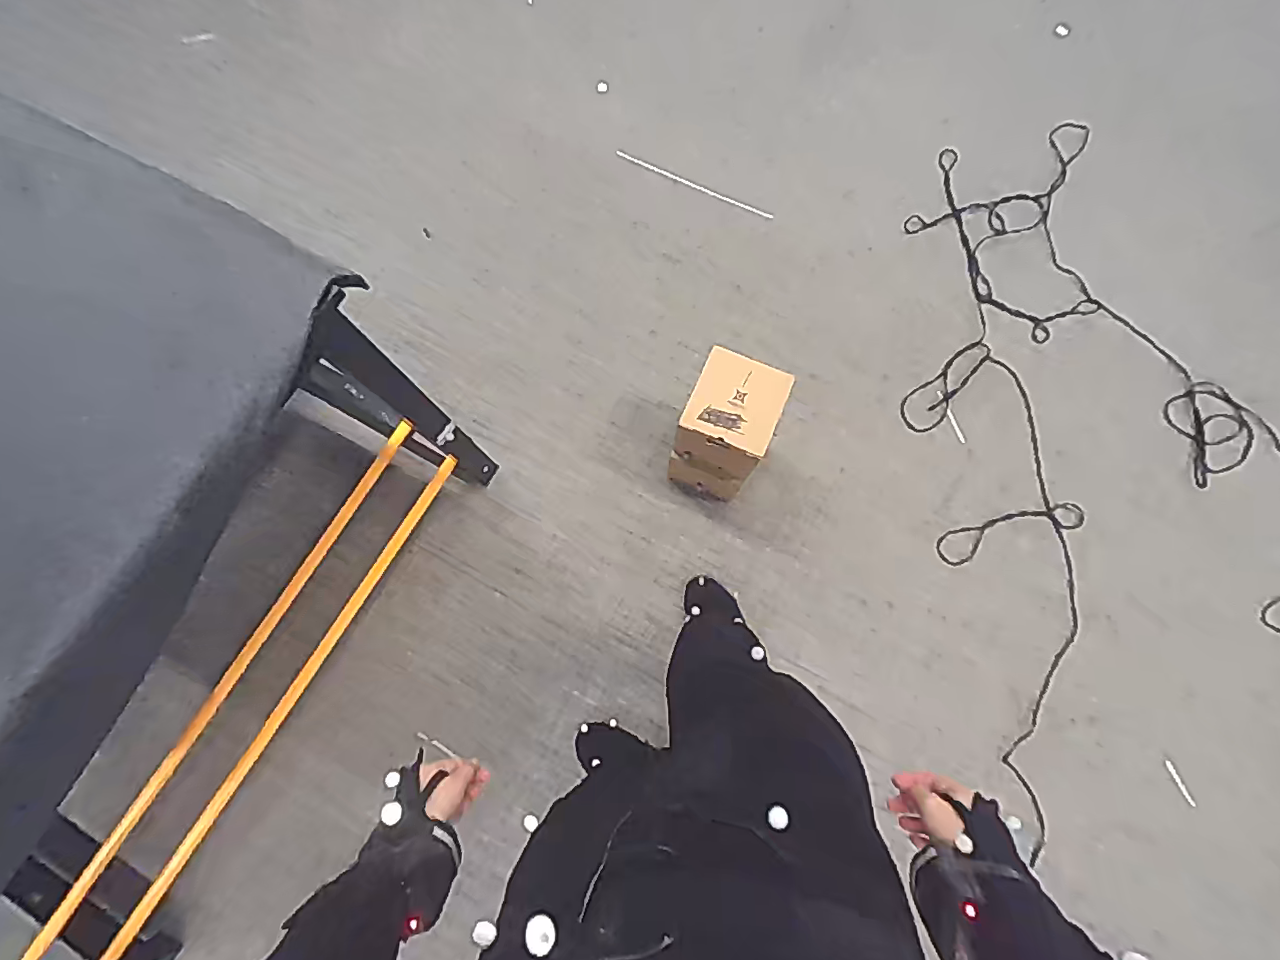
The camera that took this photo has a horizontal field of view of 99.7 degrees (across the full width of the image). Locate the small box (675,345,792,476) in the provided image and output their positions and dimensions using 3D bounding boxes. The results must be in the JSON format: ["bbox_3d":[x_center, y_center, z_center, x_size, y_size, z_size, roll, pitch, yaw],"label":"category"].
[{"bbox_3d":[0.174,-0.127,1.065,0.168,0.176,0.179,23,76,6],"label":"small box"}]

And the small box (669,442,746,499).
[{"bbox_3d":[0.169,-0.076,1.221,0.168,0.176,0.179,22,77,6],"label":"small box"}]
